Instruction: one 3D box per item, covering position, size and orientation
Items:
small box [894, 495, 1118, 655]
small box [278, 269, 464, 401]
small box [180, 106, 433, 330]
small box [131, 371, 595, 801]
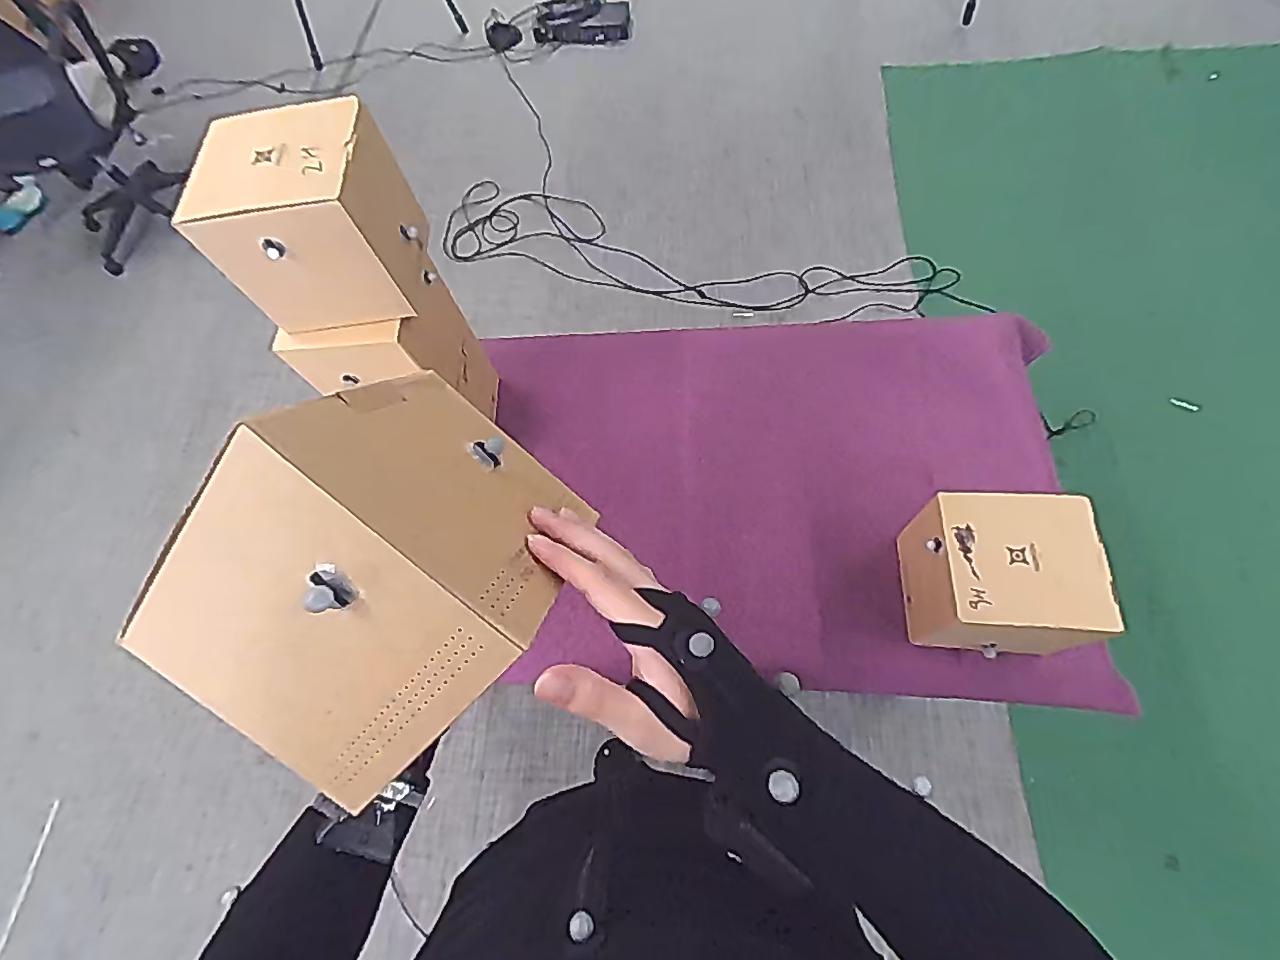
[{"bbox_3d":[0.461,0.132,0.715,0.179,0.176,0.168,2,64,7],"label":"small box"},{"bbox_3d":[-0.369,-0.205,0.779,0.168,0.176,0.179,-3,65,4],"label":"small box"},{"bbox_3d":[-0.372,-0.297,0.640,0.179,0.176,0.168,-6,65,3],"label":"small box"},{"bbox_3d":[-0.154,0.059,0.354,0.176,0.168,0.179,42,110,-7],"label":"small box"}]
